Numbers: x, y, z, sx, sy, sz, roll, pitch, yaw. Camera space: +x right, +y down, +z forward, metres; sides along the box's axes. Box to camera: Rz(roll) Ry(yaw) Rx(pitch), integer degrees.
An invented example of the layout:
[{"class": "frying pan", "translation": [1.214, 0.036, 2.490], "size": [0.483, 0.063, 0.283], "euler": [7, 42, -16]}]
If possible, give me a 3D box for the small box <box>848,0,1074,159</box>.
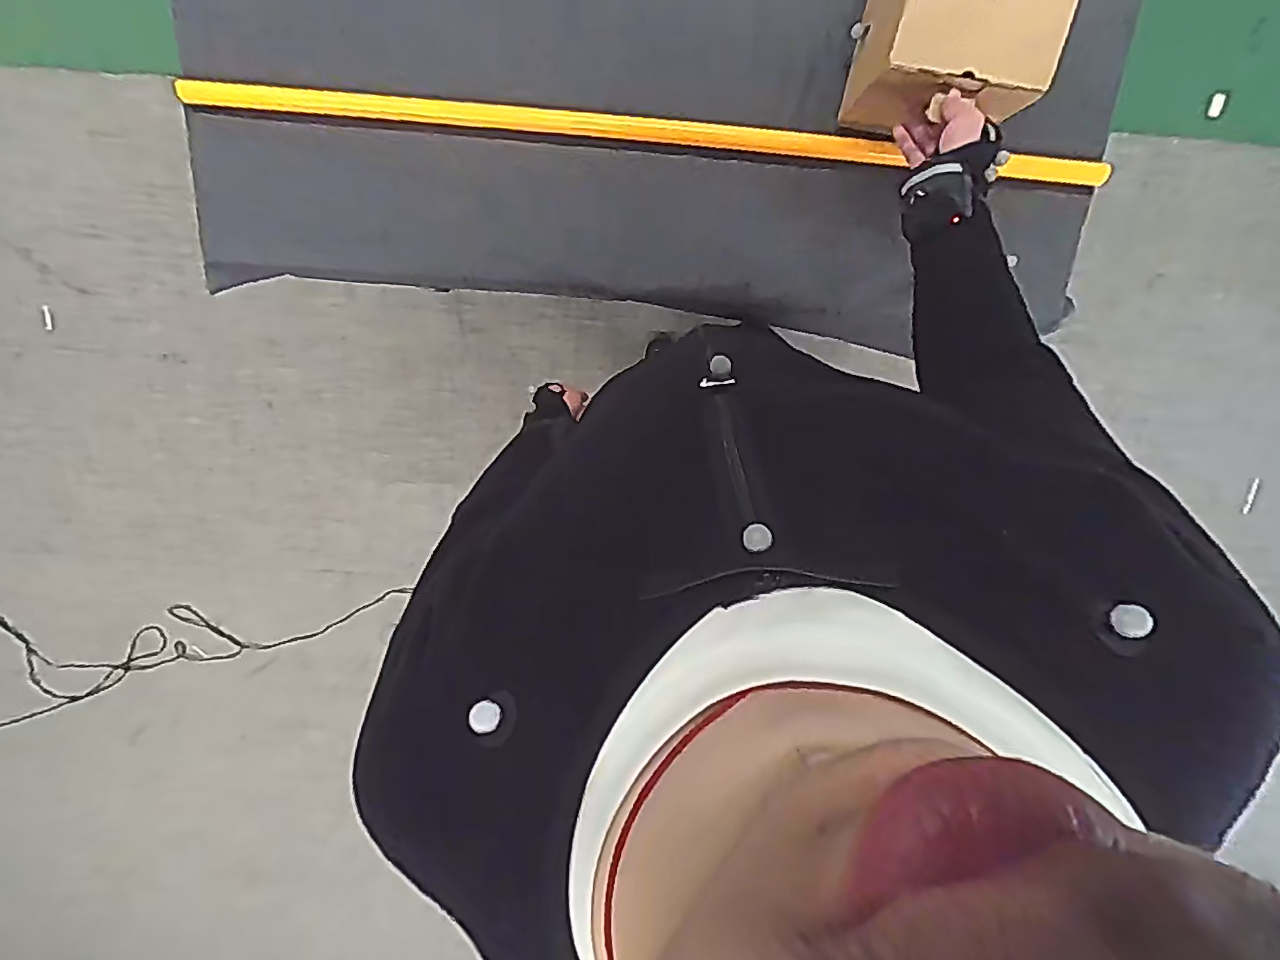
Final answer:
[{"class": "small box", "translation": [0.354, -0.494, 0.619], "size": [0.168, 0.176, 0.179], "euler": [8, 104, 2]}]
